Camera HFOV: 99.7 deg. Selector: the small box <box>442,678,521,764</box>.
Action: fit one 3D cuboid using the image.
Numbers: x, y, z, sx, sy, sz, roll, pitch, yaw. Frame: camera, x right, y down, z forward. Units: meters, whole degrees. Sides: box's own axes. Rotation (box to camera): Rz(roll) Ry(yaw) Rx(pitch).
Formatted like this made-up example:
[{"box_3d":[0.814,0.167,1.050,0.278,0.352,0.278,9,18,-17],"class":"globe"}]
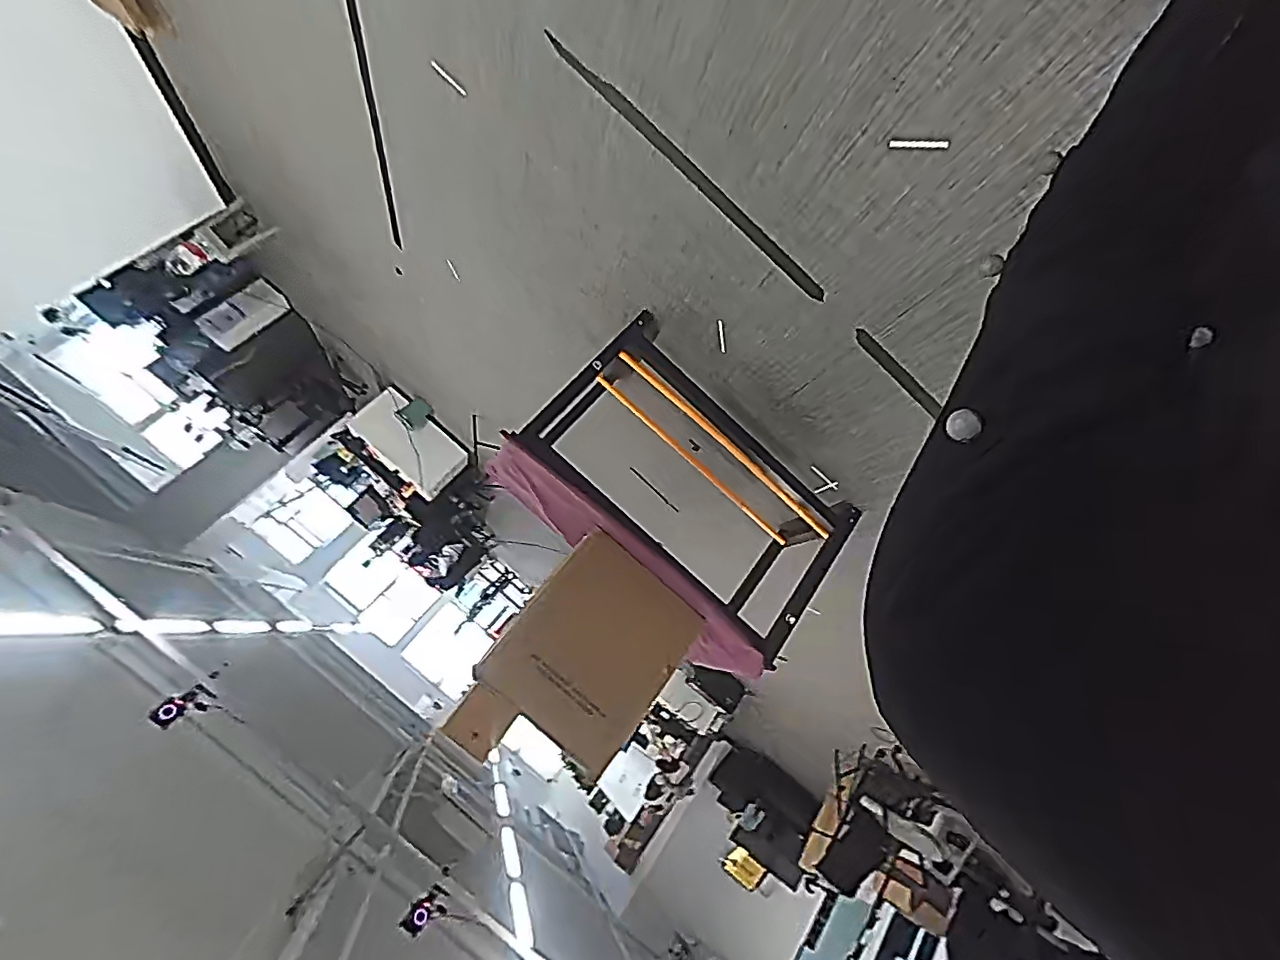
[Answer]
[{"box_3d":[-0.498,0.754,1.708,0.179,0.176,0.168,40,157,-4],"class":"small box"}]
